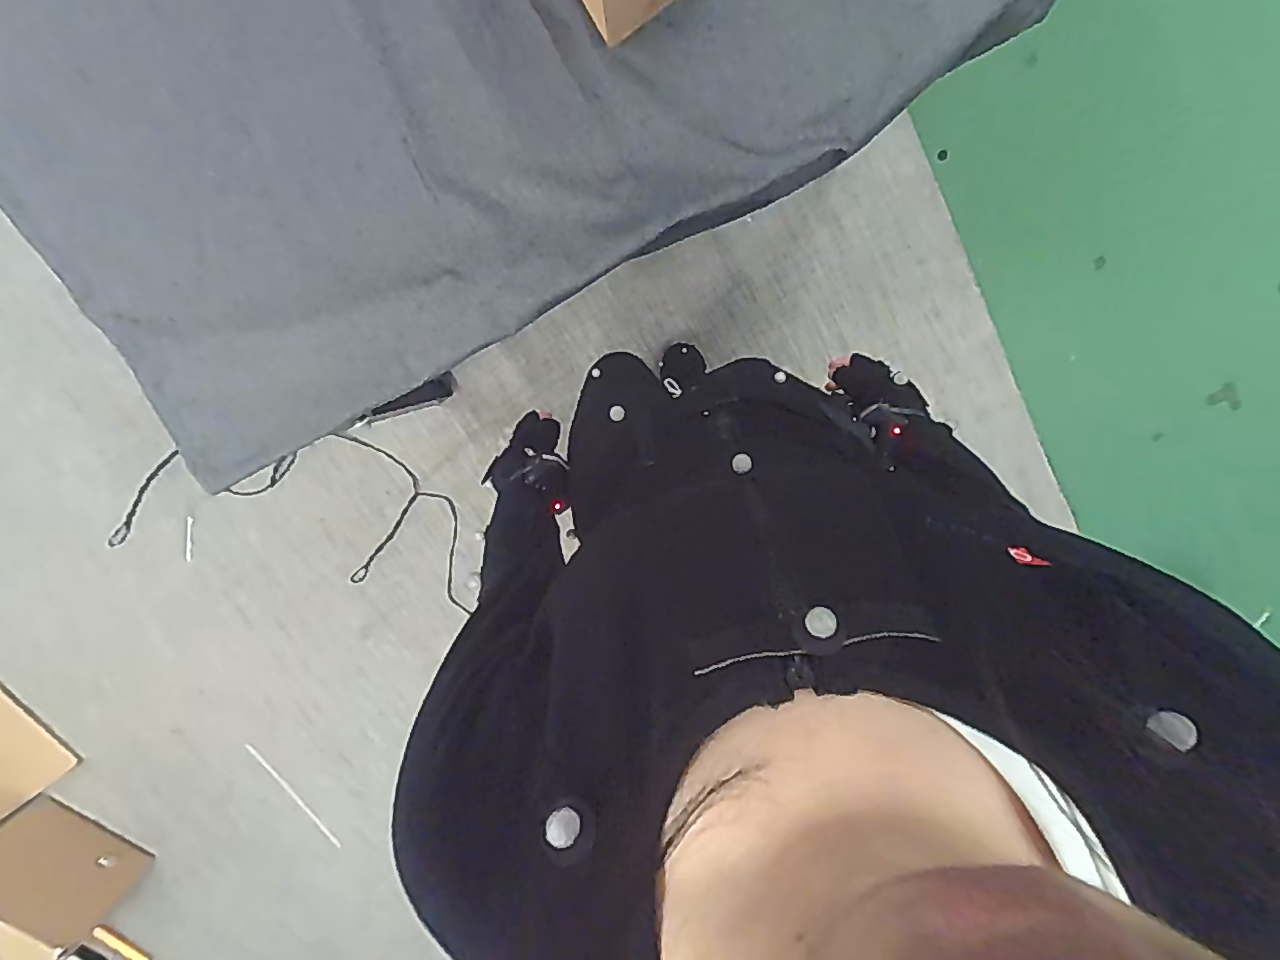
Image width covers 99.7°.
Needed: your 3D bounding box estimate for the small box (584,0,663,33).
[{"bbox_3d":[-0.017,-0.590,0.507,0.168,0.176,0.179,-31,101,9],"label":"small box"}]
